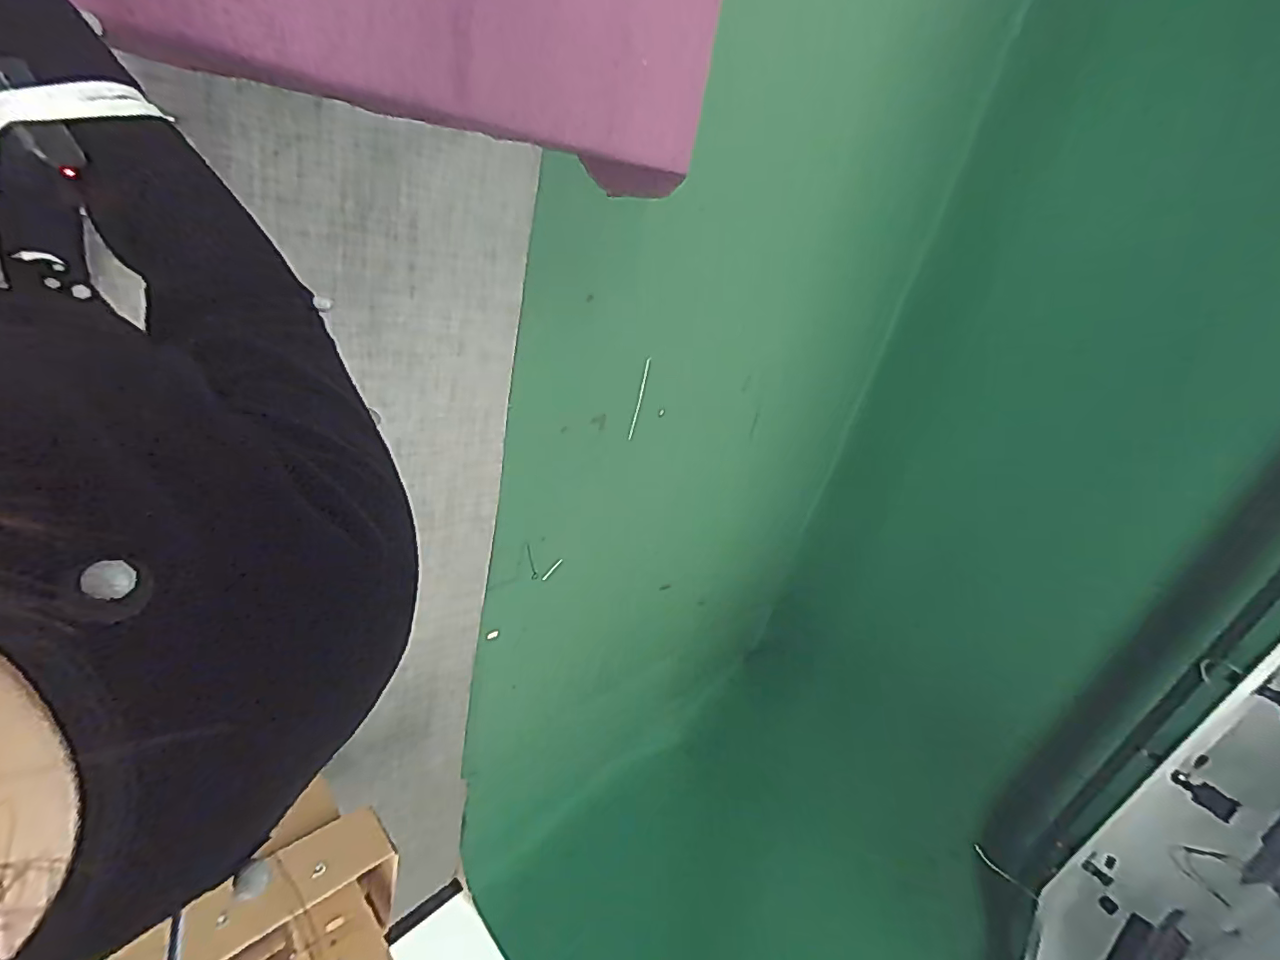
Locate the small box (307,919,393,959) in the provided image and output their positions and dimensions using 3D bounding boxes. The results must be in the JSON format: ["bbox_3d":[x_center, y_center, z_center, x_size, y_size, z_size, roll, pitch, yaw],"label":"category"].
[{"bbox_3d":[-0.756,1.293,1.395,0.168,0.176,0.179,-4,120,-47],"label":"small box"}]
